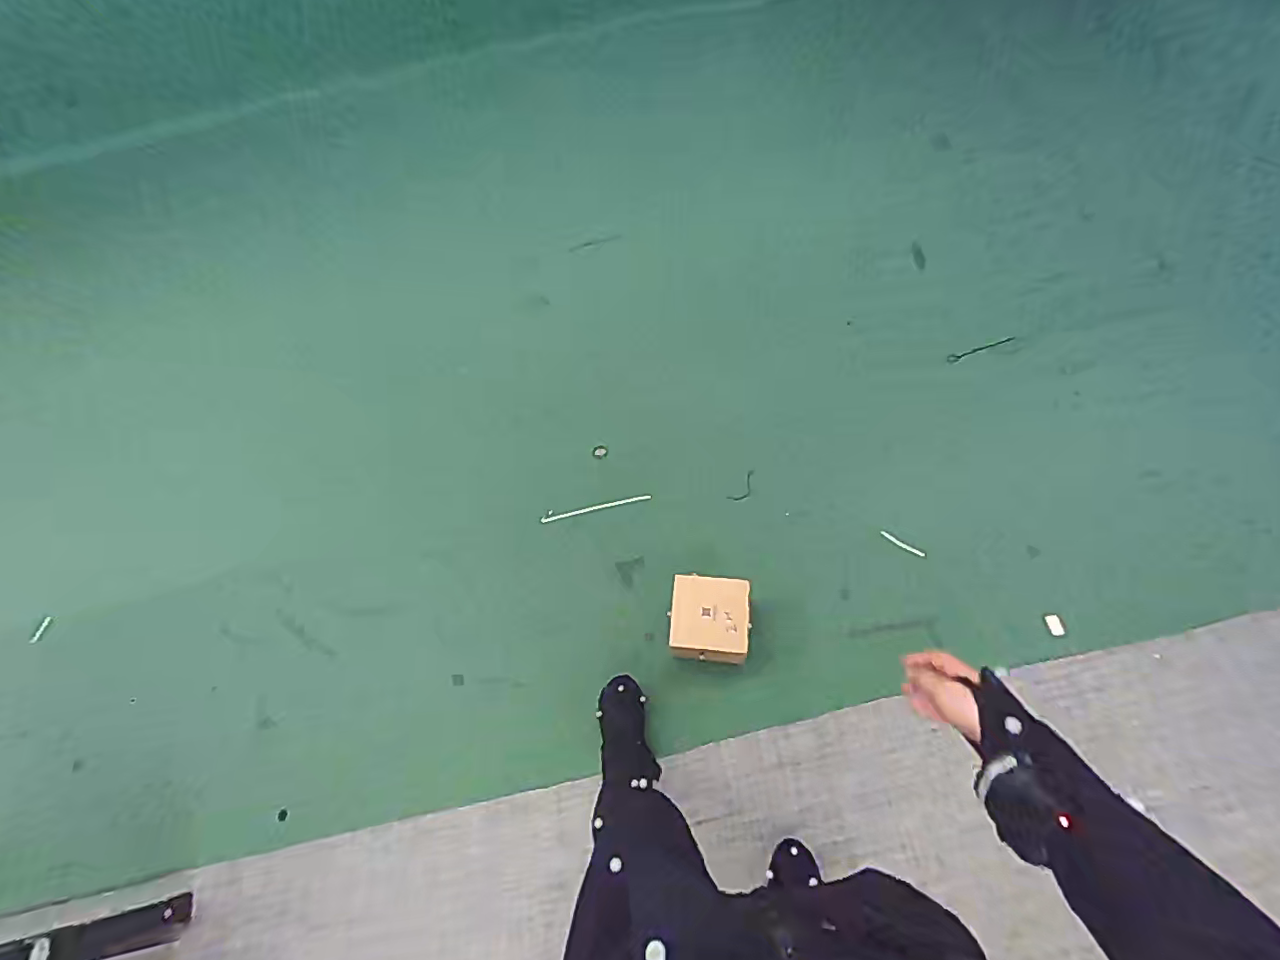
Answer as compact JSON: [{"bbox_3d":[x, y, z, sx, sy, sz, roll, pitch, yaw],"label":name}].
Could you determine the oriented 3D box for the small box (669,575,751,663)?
[{"bbox_3d":[0.166,0.334,1.285,0.179,0.176,0.168,4,65,7],"label":"small box"}]
